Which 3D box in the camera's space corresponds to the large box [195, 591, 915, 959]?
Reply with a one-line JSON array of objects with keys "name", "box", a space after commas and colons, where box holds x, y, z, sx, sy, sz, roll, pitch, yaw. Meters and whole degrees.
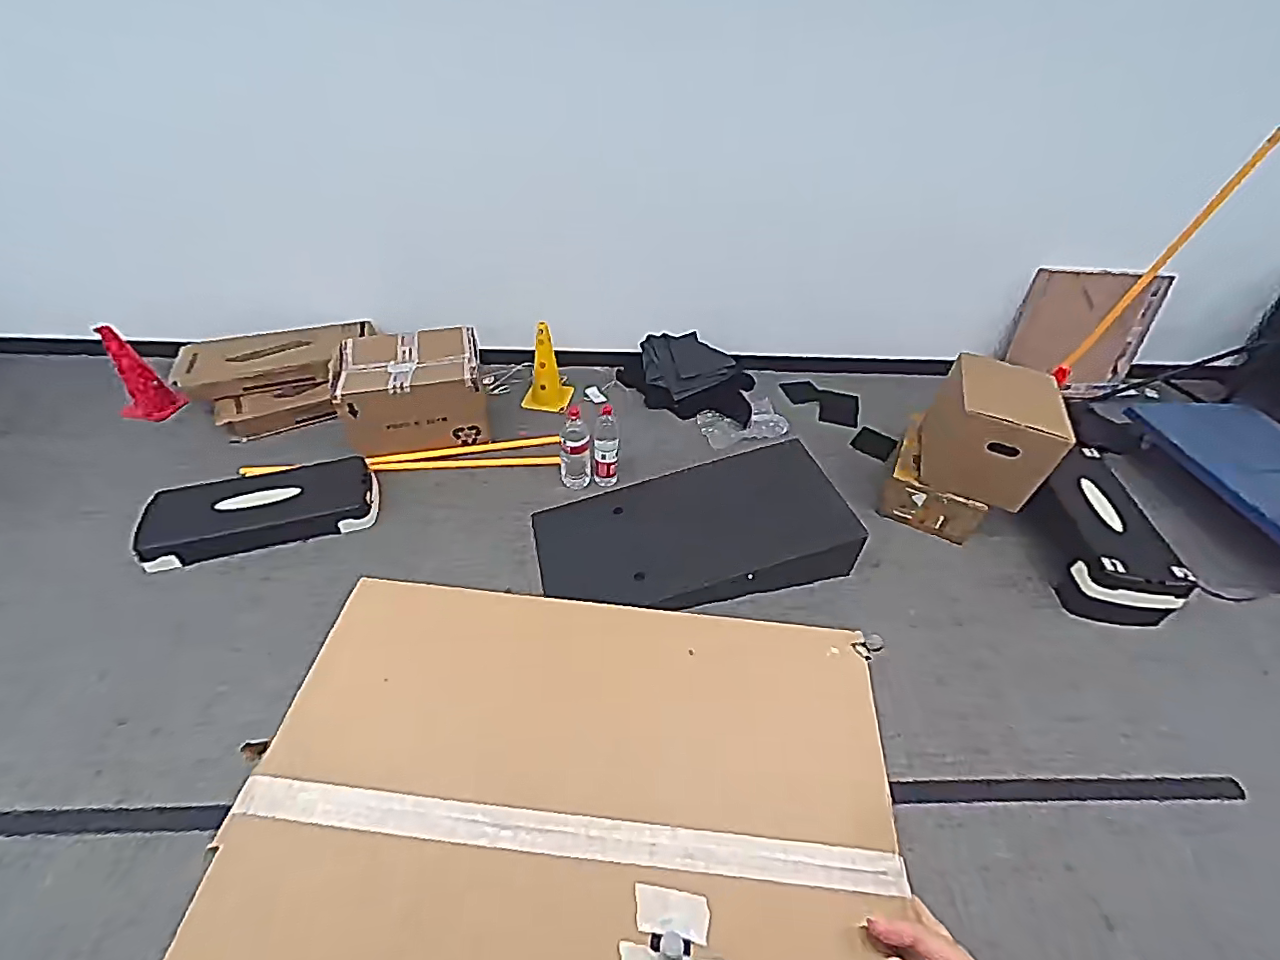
[{"name": "large box", "box": [-0.044, 0.319, 0.450, 0.408, 0.320, 0.320, 6, 50, 2]}]
